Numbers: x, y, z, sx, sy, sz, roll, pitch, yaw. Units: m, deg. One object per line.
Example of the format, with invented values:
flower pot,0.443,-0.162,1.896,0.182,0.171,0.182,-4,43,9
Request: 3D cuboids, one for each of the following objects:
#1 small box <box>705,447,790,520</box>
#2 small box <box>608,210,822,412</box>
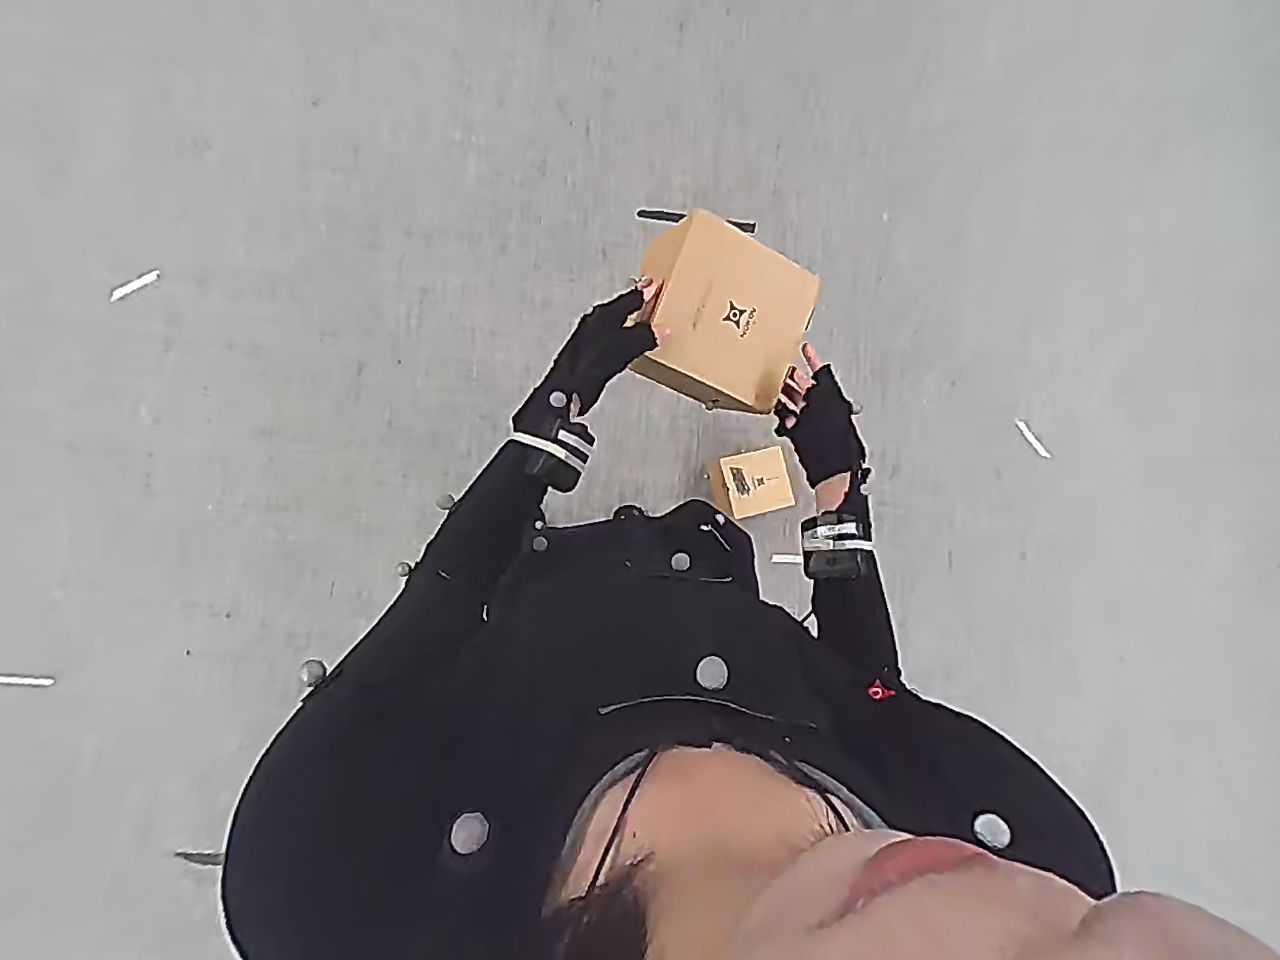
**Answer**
small box,0.289,0.015,1.503,0.179,0.176,0.168,-13,87,-9
small box,0.081,-0.195,0.669,0.179,0.176,0.168,20,93,-20
